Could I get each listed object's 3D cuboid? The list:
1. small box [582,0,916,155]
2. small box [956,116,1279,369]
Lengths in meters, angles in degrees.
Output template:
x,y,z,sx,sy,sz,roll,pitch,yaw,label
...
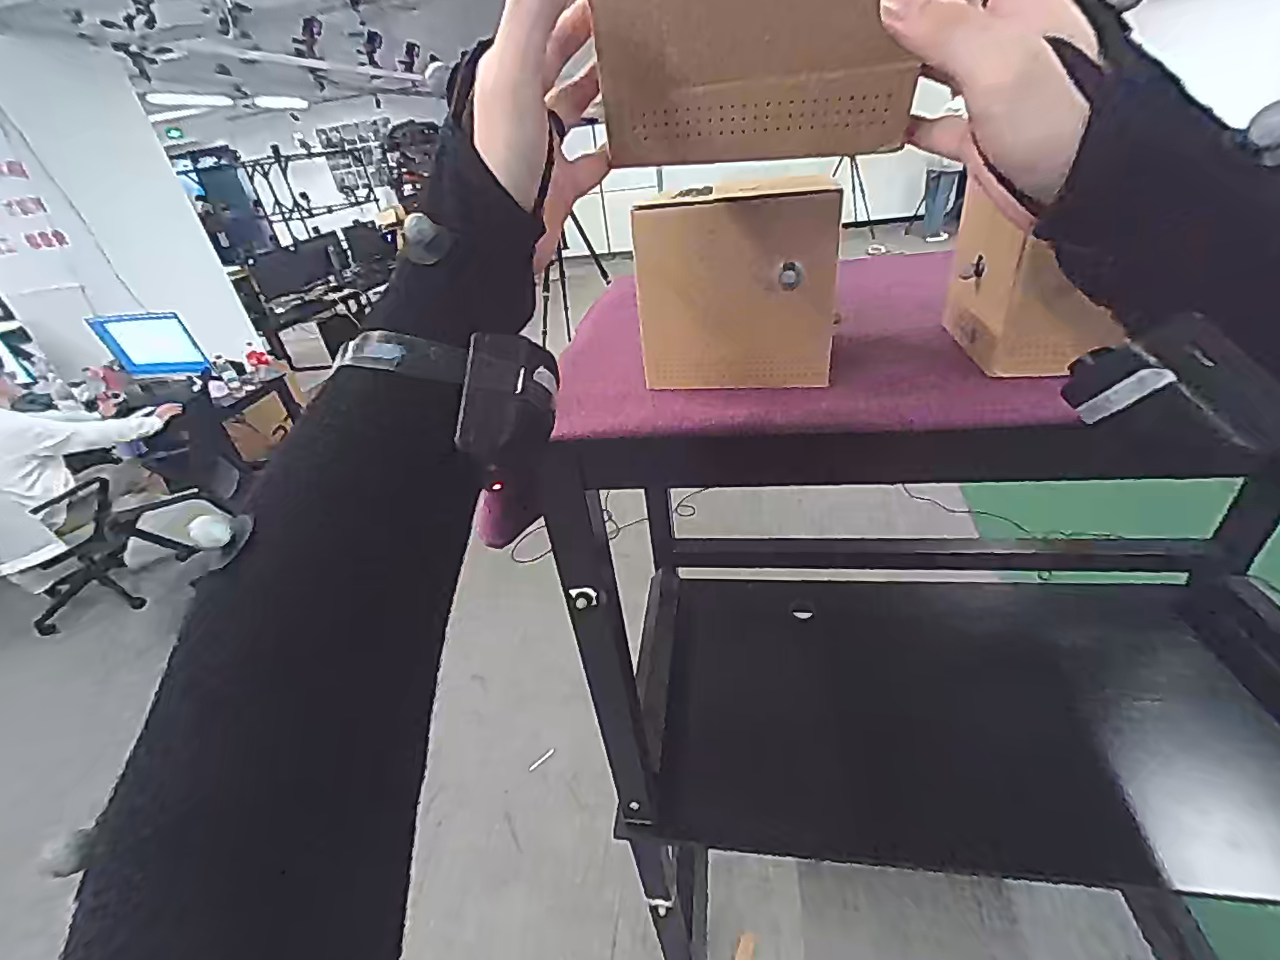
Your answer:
x,y,z,sx,sy,sz,roll,pitch,yaw,label
0.061,-0.309,0.312,0.179,0.176,0.168,2,53,9,small box
0.396,-0.202,0.473,0.179,0.176,0.168,0,32,14,small box
